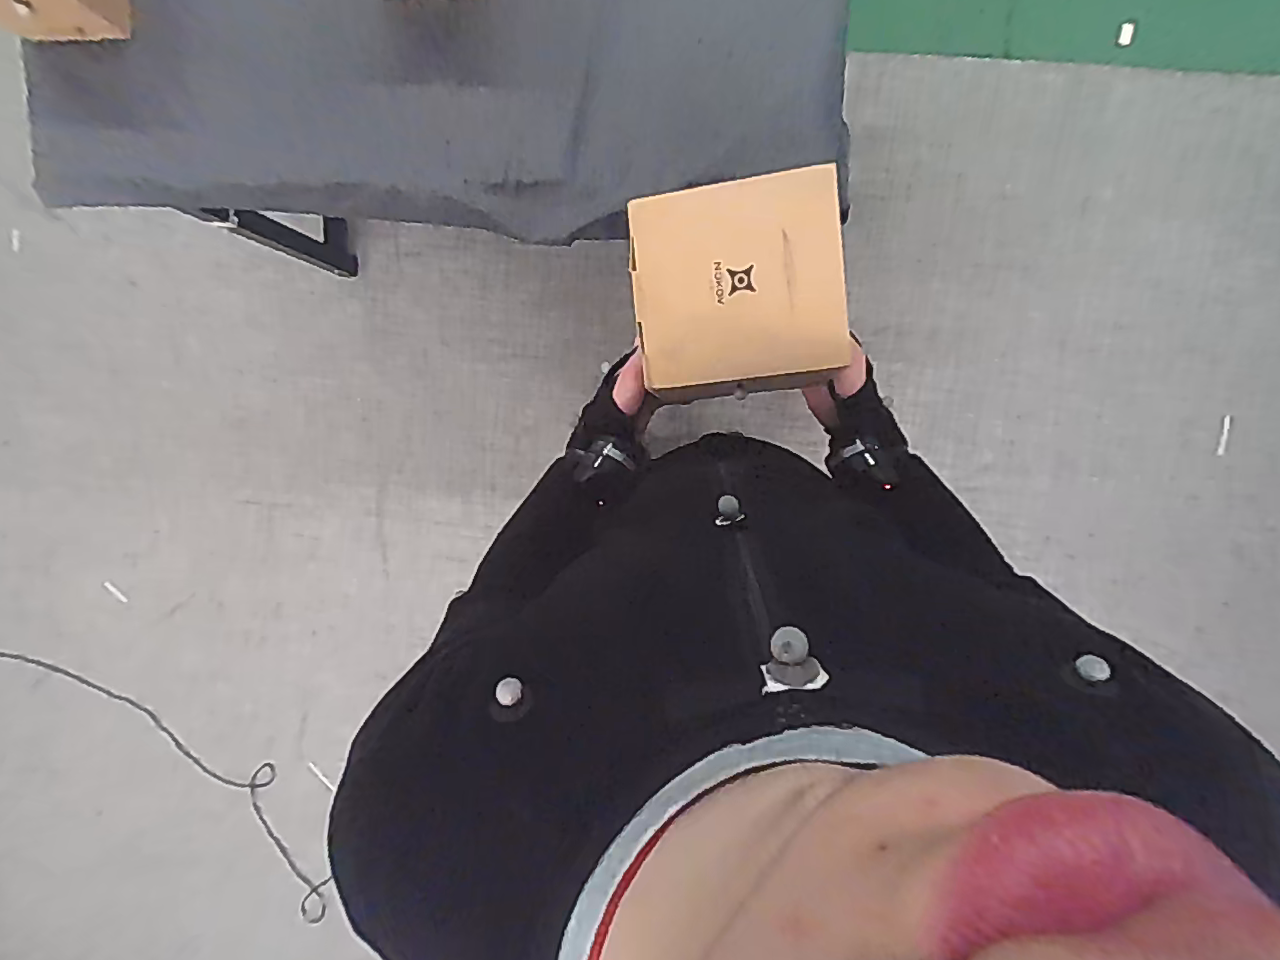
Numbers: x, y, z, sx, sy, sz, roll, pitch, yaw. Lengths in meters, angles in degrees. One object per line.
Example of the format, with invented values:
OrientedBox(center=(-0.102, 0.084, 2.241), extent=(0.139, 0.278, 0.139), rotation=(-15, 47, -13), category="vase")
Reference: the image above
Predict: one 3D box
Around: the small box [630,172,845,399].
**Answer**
OrientedBox(center=(0.096, -0.176, 0.548), extent=(0.179, 0.176, 0.168), rotation=(-6, 94, 9), category="small box")

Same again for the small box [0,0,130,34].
OrientedBox(center=(-0.838, -0.741, 0.722), extent=(0.168, 0.176, 0.179), rotation=(2, 97, 3), category="small box")
